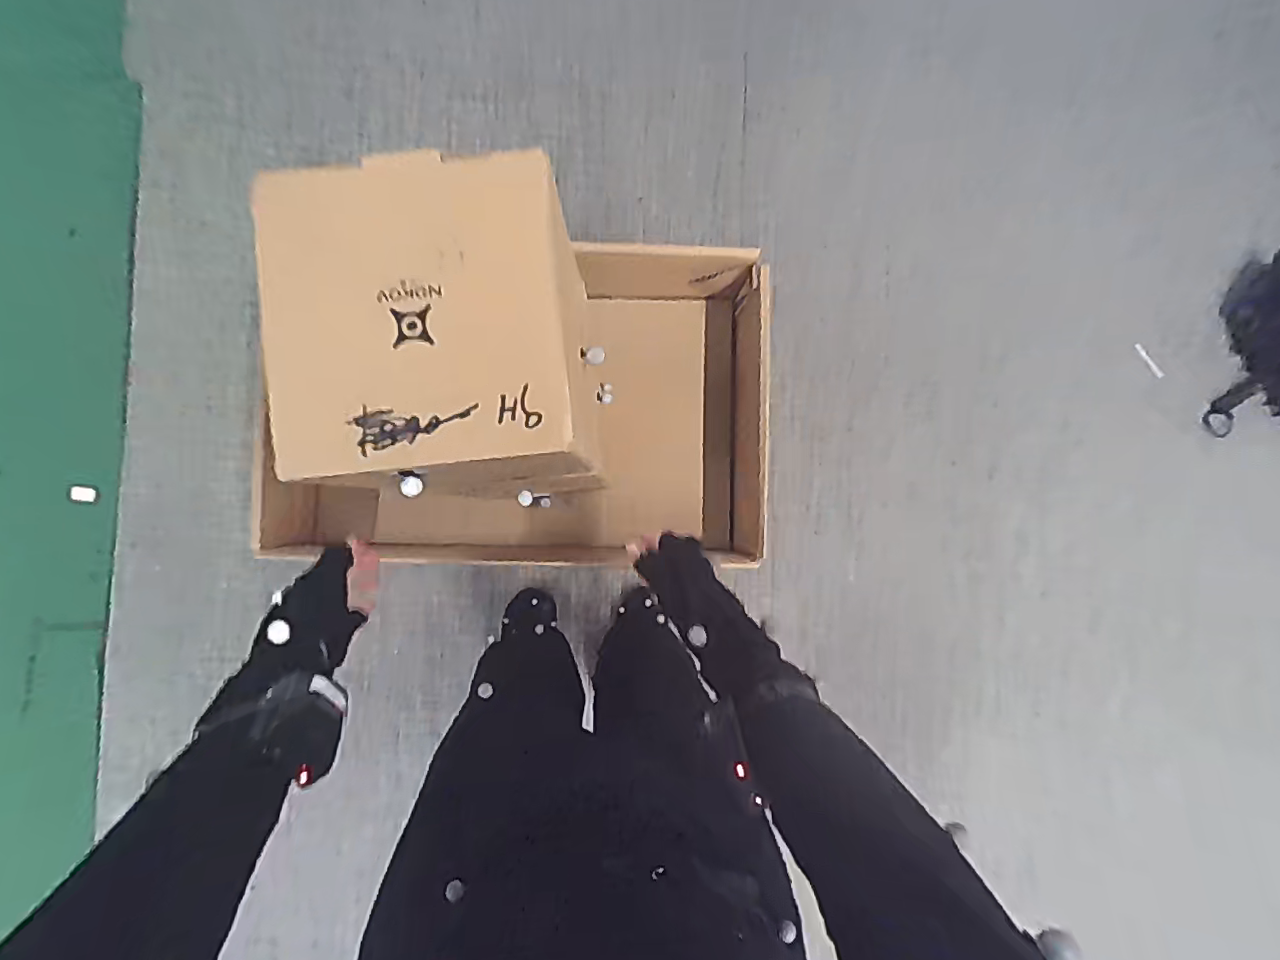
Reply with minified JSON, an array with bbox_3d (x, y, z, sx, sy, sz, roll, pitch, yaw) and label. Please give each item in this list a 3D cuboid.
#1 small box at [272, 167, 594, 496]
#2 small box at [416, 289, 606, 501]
[{"bbox_3d":[-0.128,-0.086,0.393,0.168,0.176,0.179,-6,86,1],"label":"small box"},{"bbox_3d":[-0.126,-0.074,0.556,0.168,0.176,0.179,-6,87,0],"label":"small box"}]
